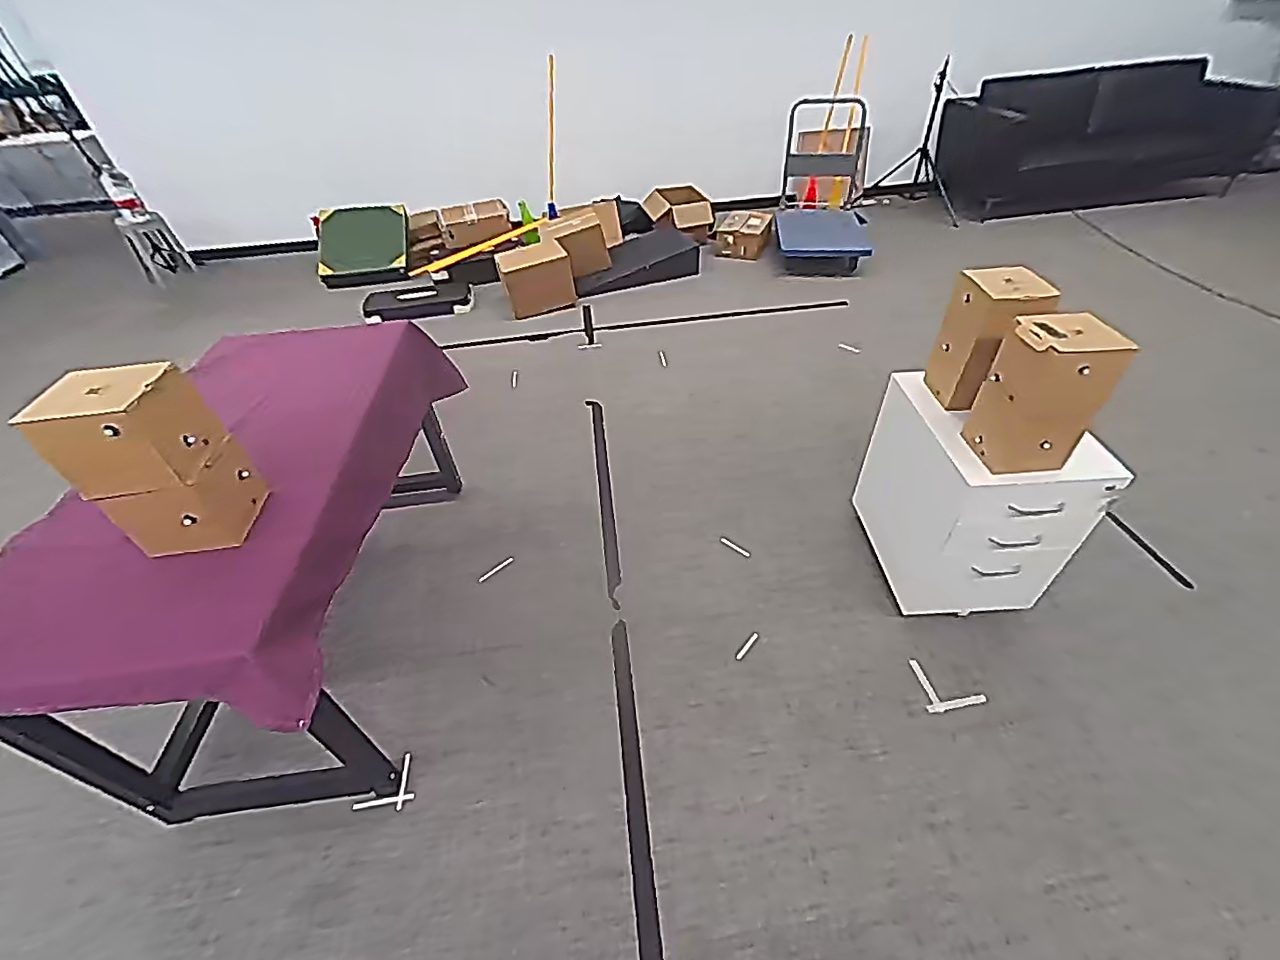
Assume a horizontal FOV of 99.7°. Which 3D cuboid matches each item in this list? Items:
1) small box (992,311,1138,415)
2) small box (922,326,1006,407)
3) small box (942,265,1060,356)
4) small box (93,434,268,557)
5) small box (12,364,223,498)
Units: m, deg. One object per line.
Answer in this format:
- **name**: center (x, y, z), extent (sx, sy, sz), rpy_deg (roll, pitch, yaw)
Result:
- **small box**: center (0.925, -0.259, 1.206), extent (0.179, 0.176, 0.168), rpy_deg (-4, 43, -1)
- **small box**: center (0.928, -0.317, 1.509), extent (0.179, 0.176, 0.168), rpy_deg (-2, 43, 0)
- **small box**: center (0.916, -0.437, 1.396), extent (0.168, 0.176, 0.179), rpy_deg (-3, 43, 1)
- **small box**: center (-0.888, 0.032, 1.072), extent (0.179, 0.176, 0.168), rpy_deg (-7, 42, -3)
- **small box**: center (-0.902, -0.083, 0.959), extent (0.179, 0.176, 0.168), rpy_deg (-8, 42, -6)
